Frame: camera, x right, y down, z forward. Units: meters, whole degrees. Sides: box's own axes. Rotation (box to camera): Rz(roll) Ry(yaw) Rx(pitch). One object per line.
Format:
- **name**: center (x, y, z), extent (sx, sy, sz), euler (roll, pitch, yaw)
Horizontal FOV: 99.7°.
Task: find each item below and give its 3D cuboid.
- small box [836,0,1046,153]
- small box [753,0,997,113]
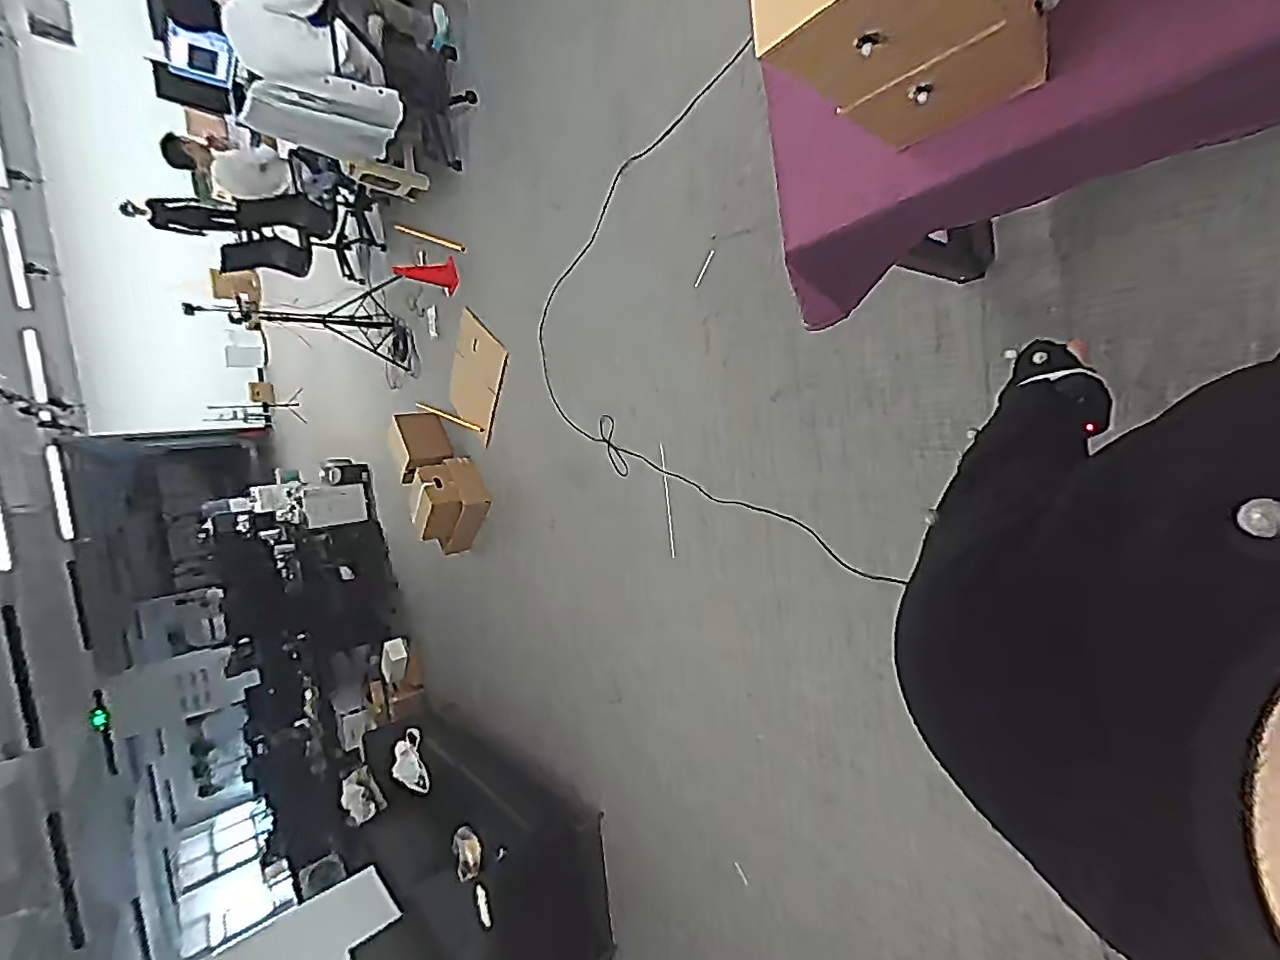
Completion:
- **small box**: center (0.348, -0.520, 0.635), extent (0.179, 0.176, 0.168), euler (0, 97, 48)
- **small box**: center (0.228, -0.503, 0.525), extent (0.179, 0.176, 0.168), euler (-1, 97, 50)
